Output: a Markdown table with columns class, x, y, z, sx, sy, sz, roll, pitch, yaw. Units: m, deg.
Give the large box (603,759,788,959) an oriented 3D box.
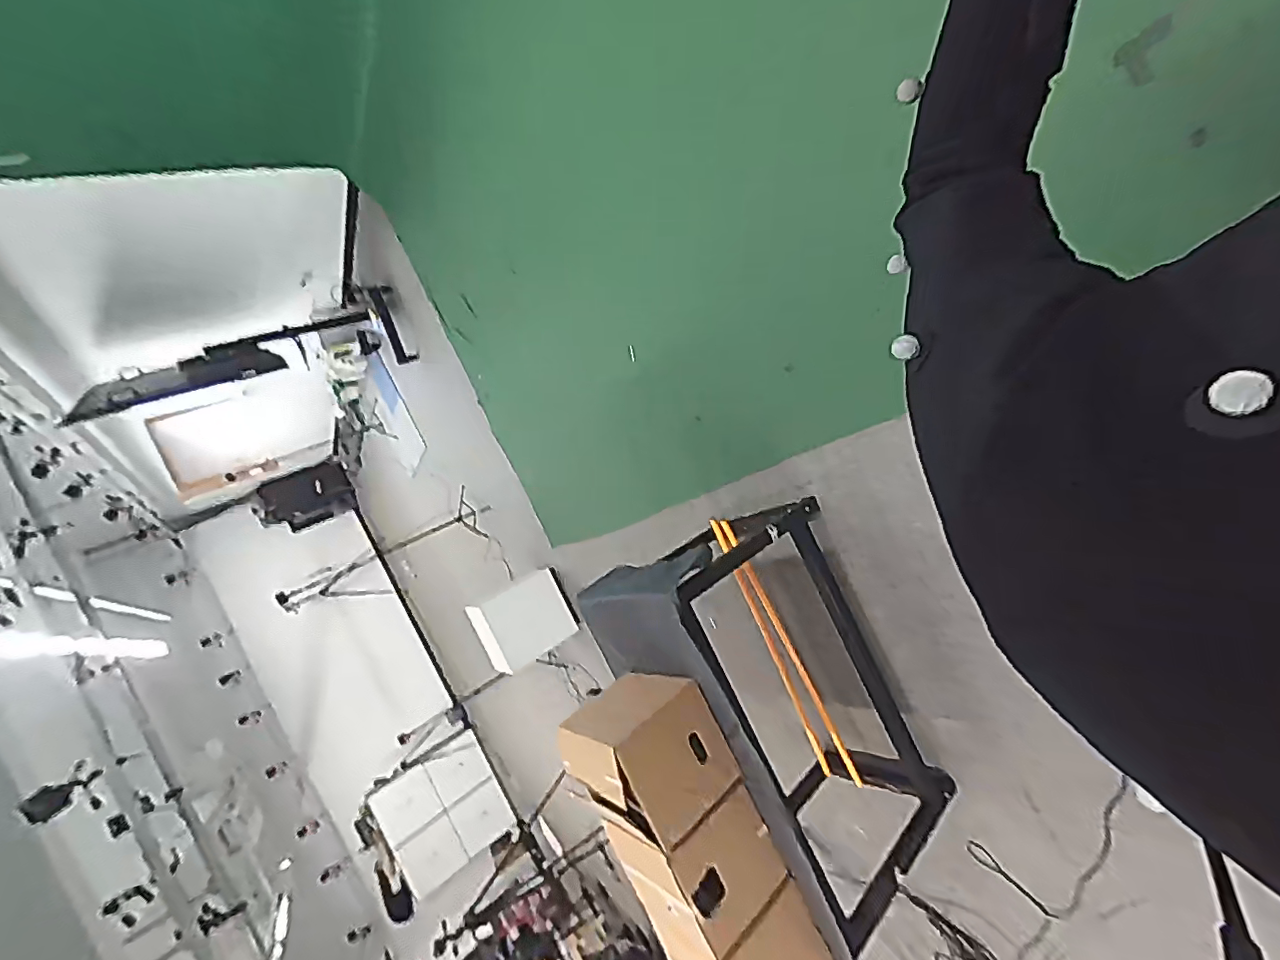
| class | x | y | z | sx | sy | sz | roll | pitch | yaw |
| --- | --- | --- | --- | --- | --- | --- | --- | --- | --- |
| large box | 0.154 | 1.095 | 1.629 | 0.408 | 0.320 | 0.320 | -28 | 89 | 55 |
